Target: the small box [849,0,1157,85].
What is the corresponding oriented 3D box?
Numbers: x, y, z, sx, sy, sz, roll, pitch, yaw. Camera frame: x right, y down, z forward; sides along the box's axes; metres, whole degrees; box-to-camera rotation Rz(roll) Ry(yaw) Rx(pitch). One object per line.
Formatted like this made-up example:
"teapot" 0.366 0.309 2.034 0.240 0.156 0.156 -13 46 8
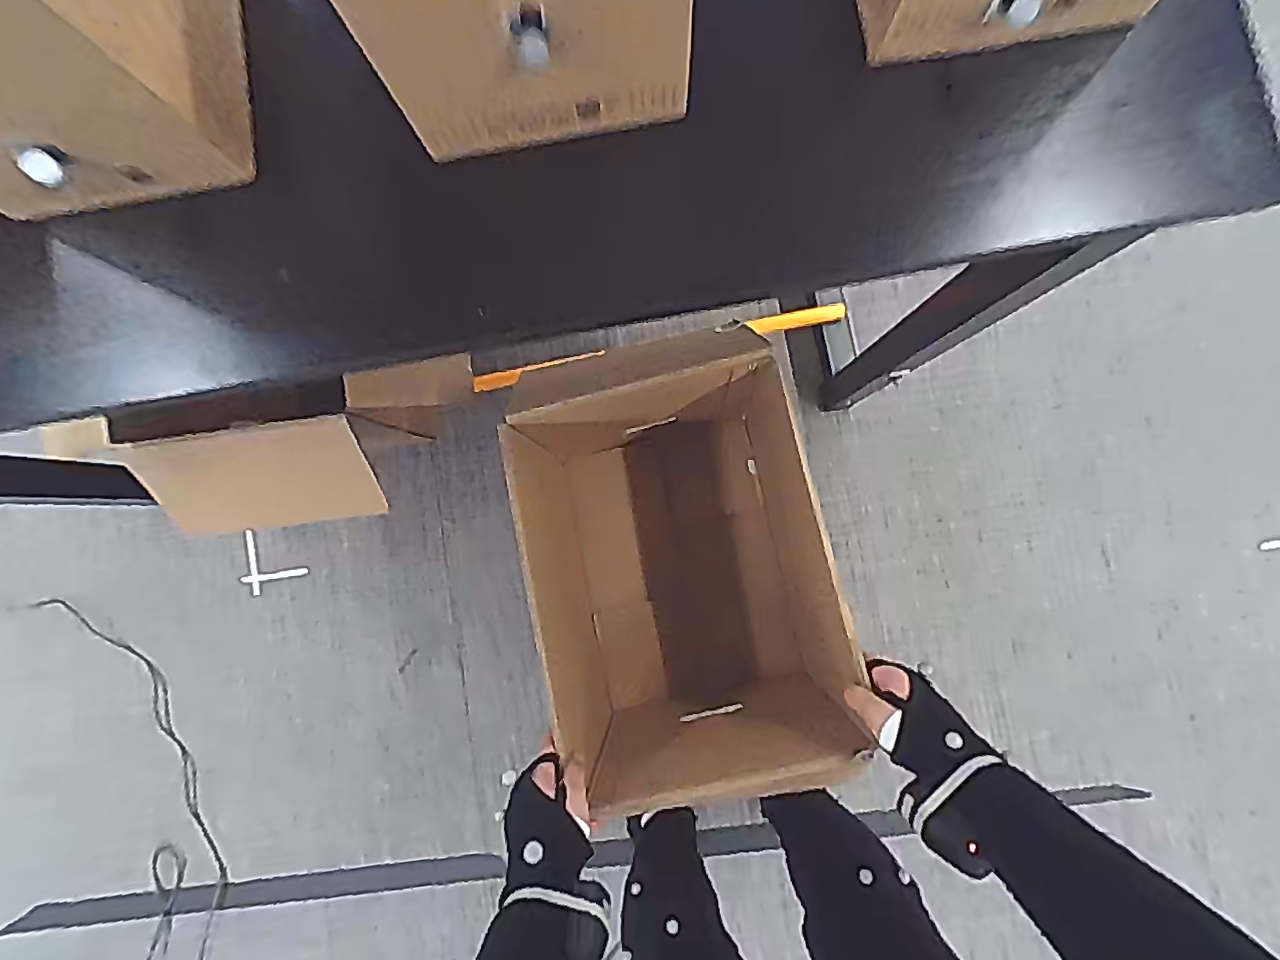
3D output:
"small box" 0.205 -0.350 0.266 0.168 0.176 0.179 -9 86 4
